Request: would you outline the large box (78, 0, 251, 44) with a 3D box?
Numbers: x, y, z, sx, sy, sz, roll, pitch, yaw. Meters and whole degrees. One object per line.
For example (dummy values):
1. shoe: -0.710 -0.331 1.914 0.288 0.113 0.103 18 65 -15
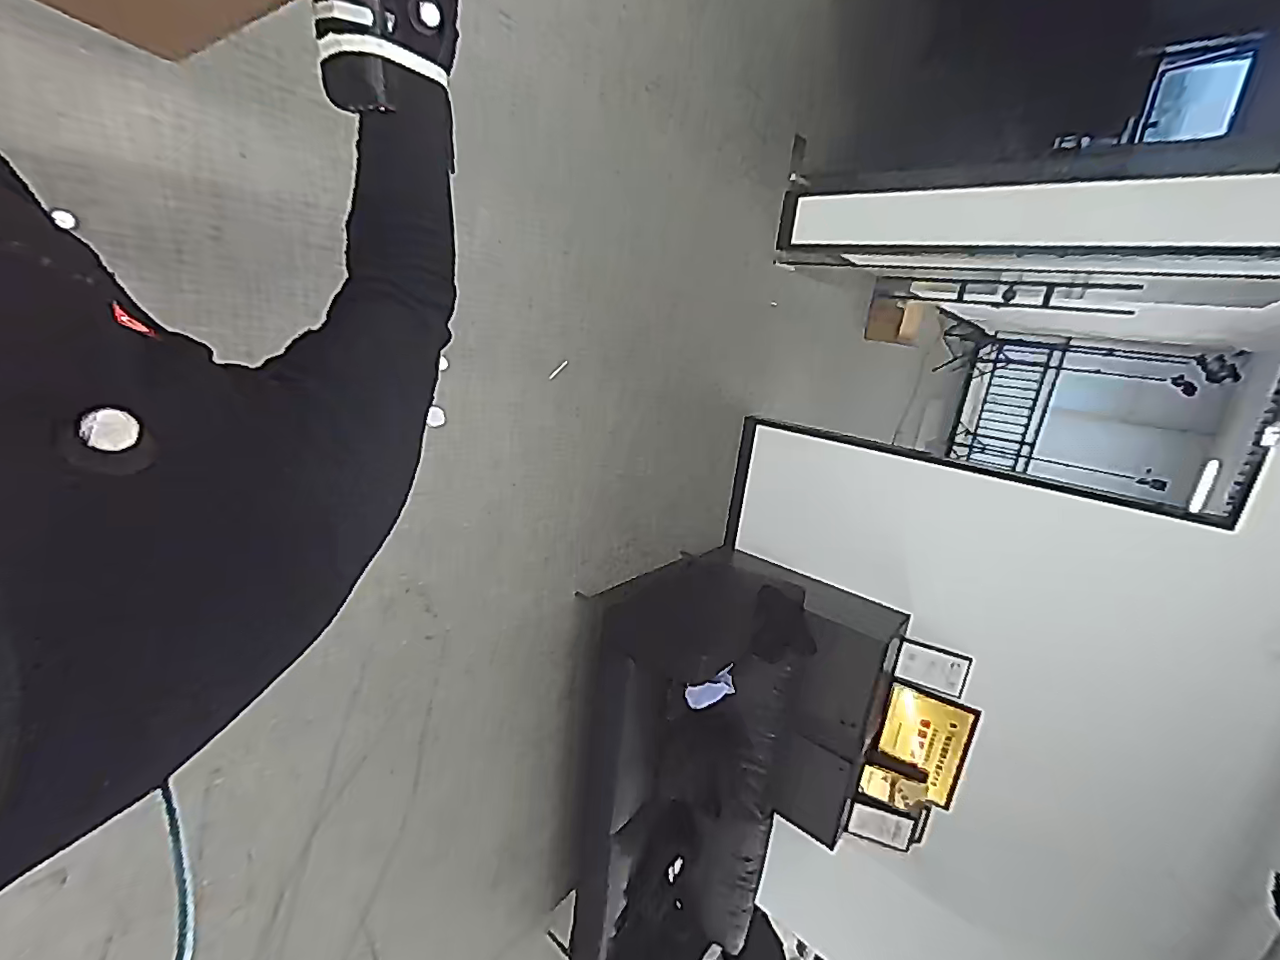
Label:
1. large box: -0.410 -0.498 0.237 0.408 0.320 0.320 -3 111 -52
